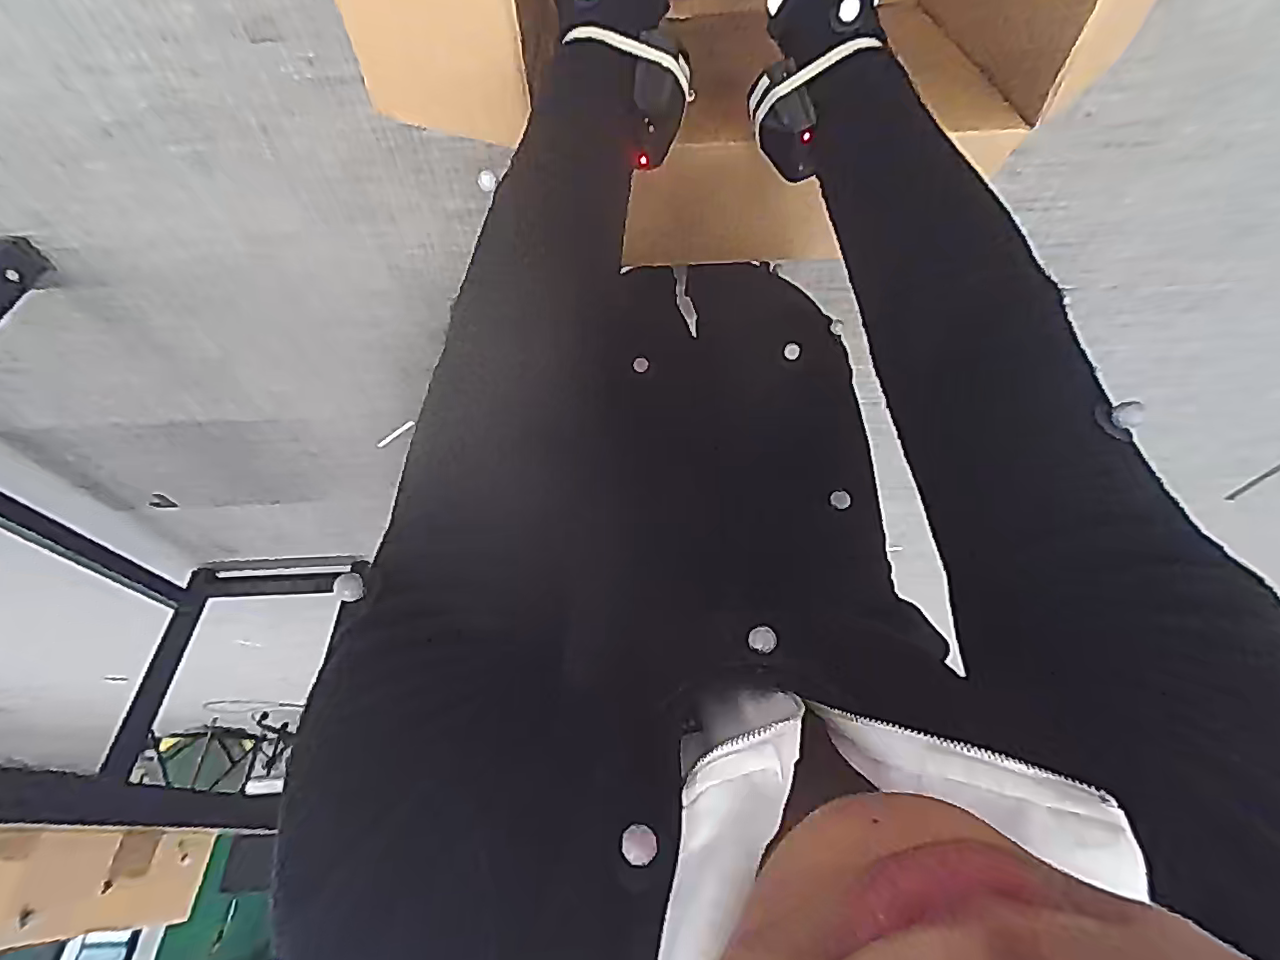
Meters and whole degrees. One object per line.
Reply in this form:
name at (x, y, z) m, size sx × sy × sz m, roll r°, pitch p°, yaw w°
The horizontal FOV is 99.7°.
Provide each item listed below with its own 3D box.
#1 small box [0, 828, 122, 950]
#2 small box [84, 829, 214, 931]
small box at (-1.124, 0.737, 0.981) m, size 0.168 × 0.176 × 0.179 m, roll -2°, pitch 146°, yaw 2°
small box at (-1.113, 0.884, 1.203) m, size 0.179 × 0.176 × 0.168 m, roll -4°, pitch 146°, yaw 2°
